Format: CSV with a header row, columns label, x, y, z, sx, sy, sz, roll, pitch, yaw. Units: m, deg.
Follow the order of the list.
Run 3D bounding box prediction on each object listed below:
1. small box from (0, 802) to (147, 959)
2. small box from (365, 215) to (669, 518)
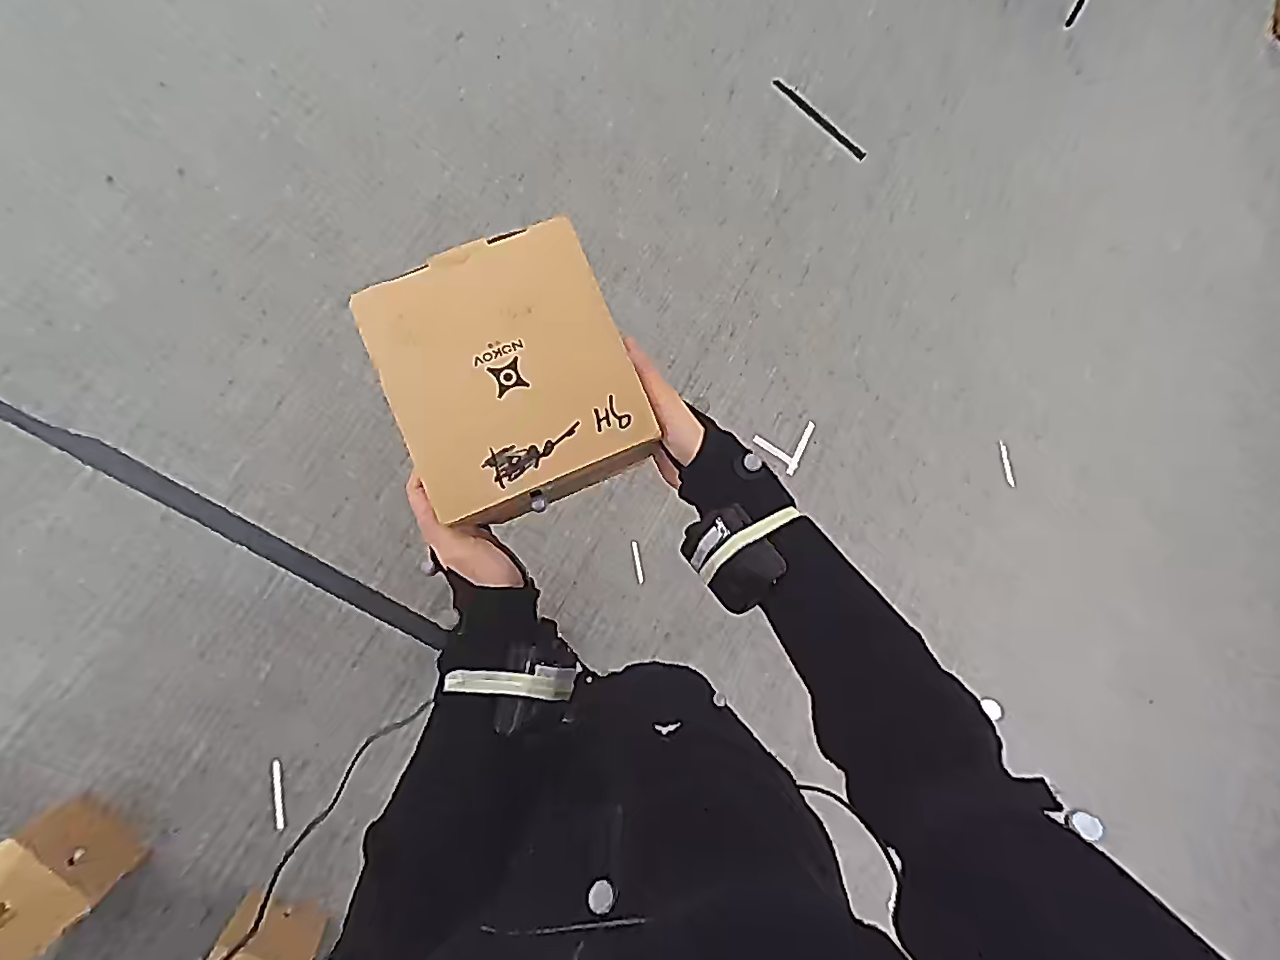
label,x,y,z,sx,sy,sz,roll,pitch,yaw
small box,-1.034,0.699,0.936,0.168,0.176,0.179,-43,100,-16
small box,-0.089,-0.075,0.452,0.168,0.176,0.179,-22,87,-4
